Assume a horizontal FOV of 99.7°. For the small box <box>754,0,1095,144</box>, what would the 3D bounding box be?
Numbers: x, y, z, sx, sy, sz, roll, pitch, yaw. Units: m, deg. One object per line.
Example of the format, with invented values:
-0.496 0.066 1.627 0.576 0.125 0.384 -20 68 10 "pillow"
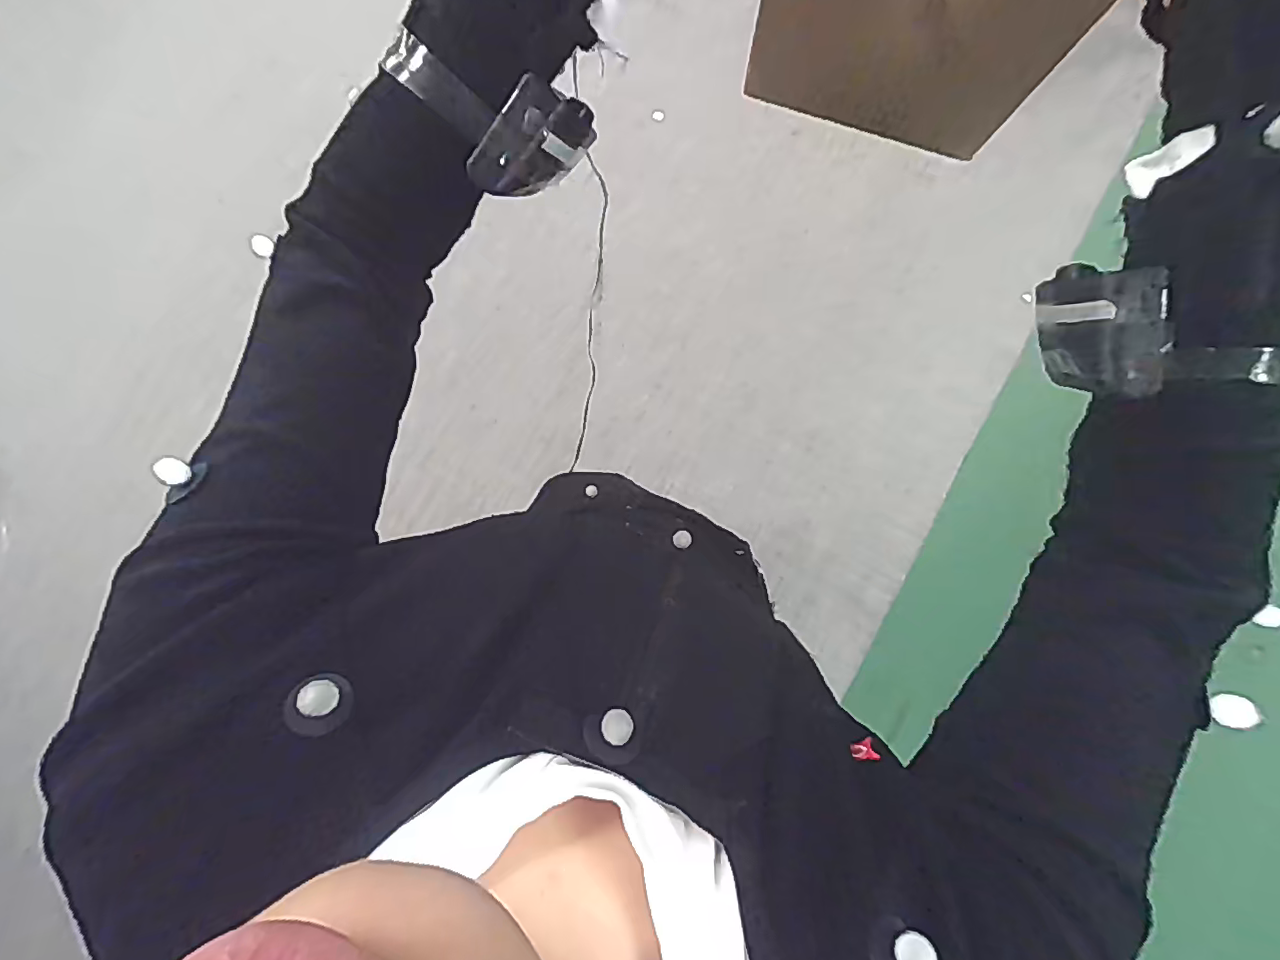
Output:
0.181 -0.339 0.315 0.179 0.176 0.168 19 90 2 "small box"
